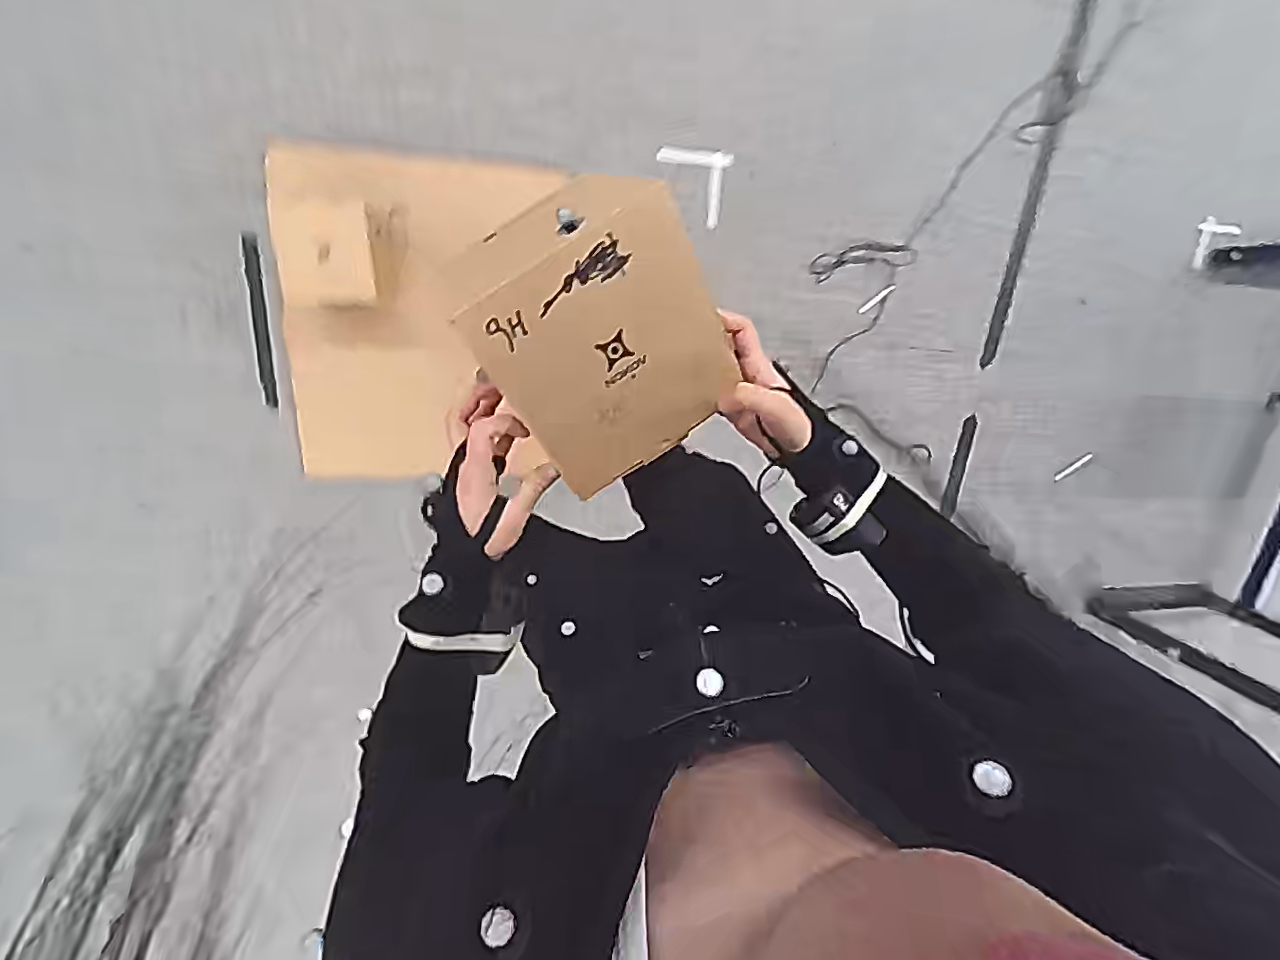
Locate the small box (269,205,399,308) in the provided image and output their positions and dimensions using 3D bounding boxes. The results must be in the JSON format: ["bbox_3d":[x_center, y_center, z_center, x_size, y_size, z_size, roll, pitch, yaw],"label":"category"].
[{"bbox_3d":[-0.598,-0.440,1.082,0.168,0.176,0.179,-5,109,-9],"label":"small box"}]
